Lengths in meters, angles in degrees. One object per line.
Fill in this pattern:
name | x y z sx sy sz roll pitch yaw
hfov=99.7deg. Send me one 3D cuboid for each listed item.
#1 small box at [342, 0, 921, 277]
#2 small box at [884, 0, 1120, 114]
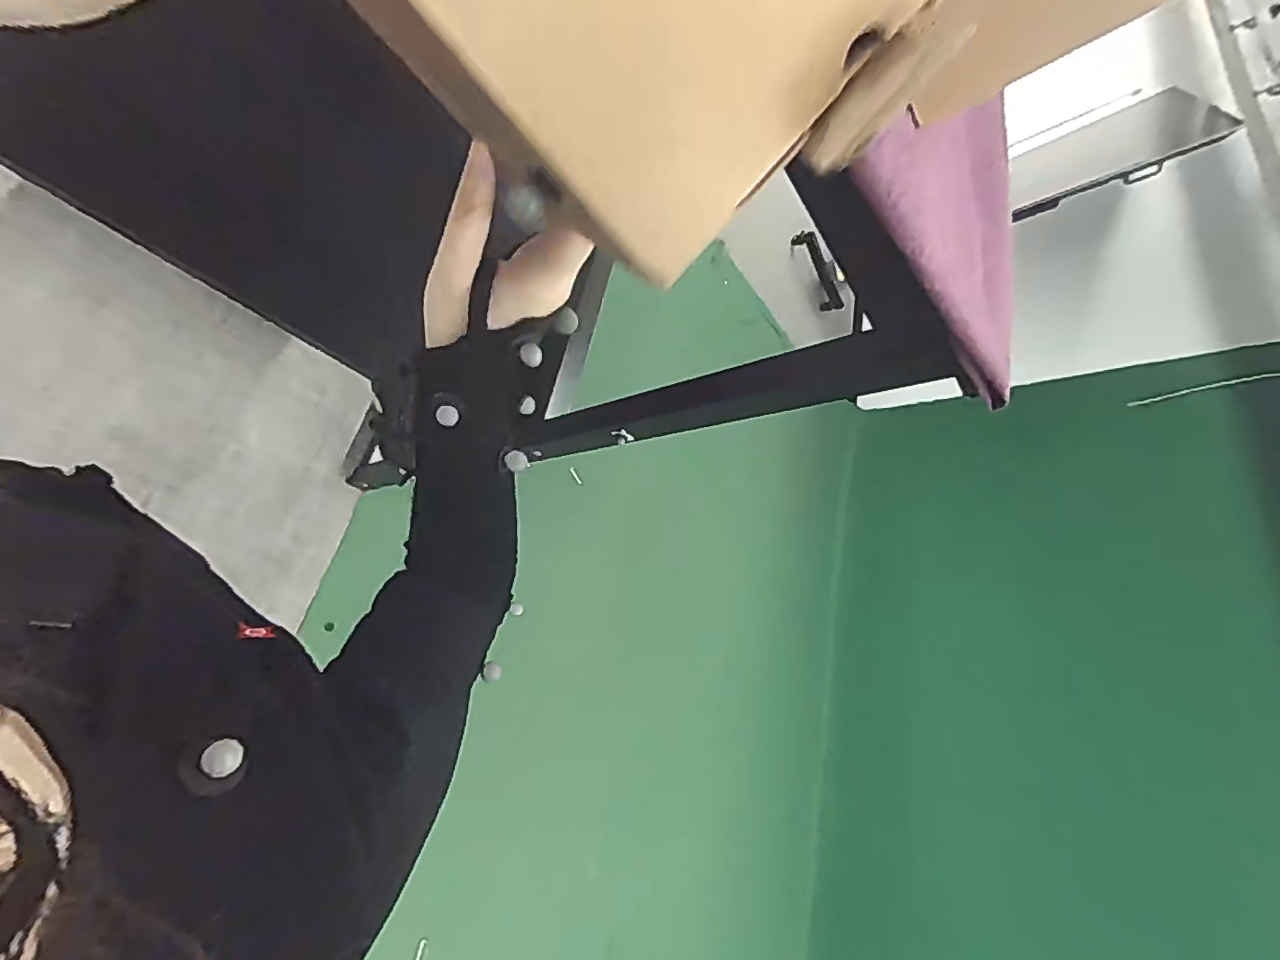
small box | -0.022 -0.199 0.160 0.168 0.176 0.179 -44 130 10
small box | 0.228 -0.386 0.333 0.179 0.176 0.168 36 56 -40
